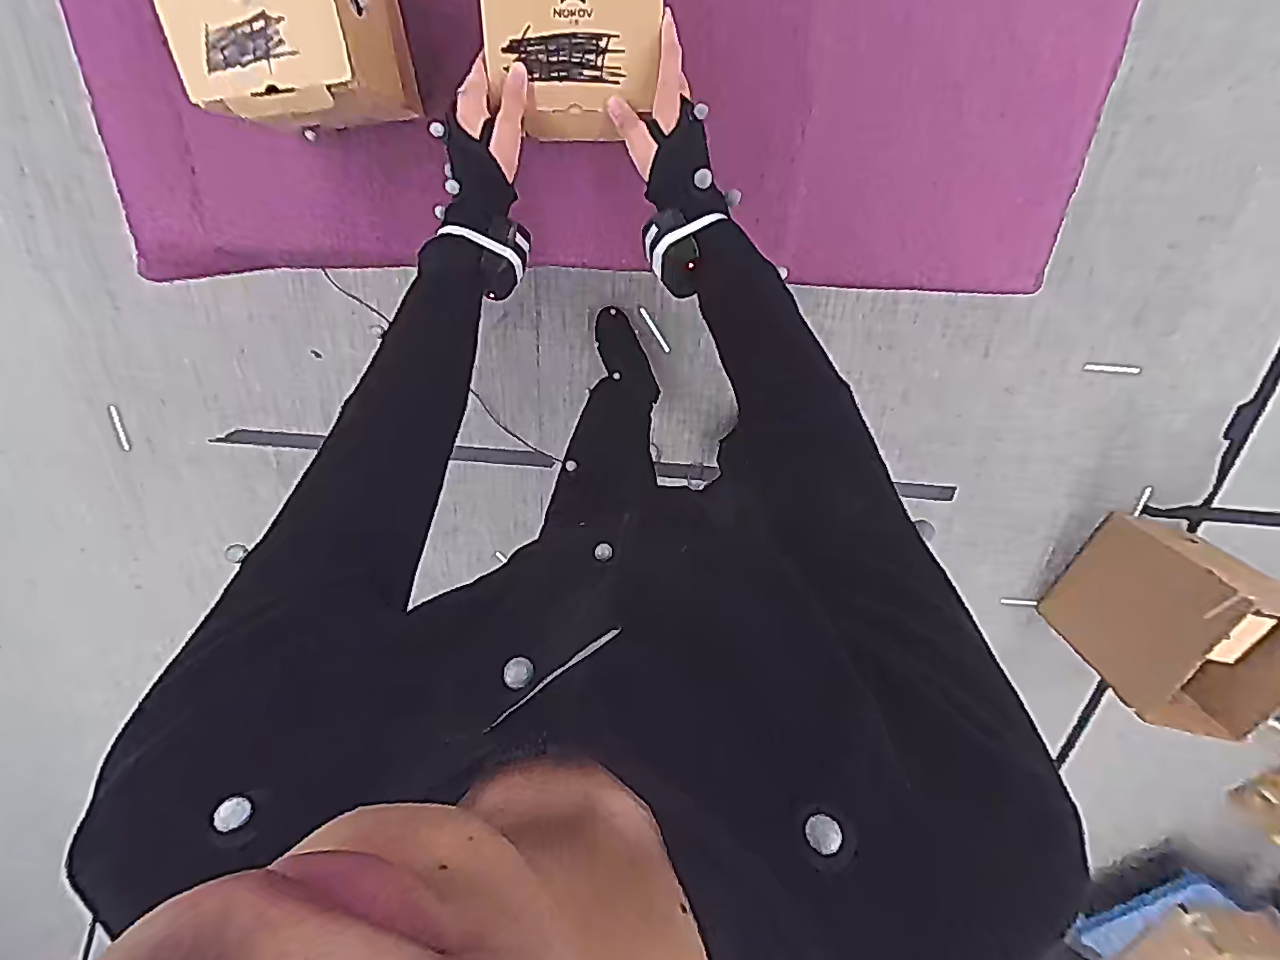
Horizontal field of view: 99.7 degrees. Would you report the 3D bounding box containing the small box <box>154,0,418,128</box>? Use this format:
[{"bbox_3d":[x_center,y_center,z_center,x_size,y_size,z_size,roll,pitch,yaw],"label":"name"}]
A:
[{"bbox_3d":[-0.350,-0.473,0.547,0.168,0.176,0.179,-5,114,3],"label":"small box"}]
